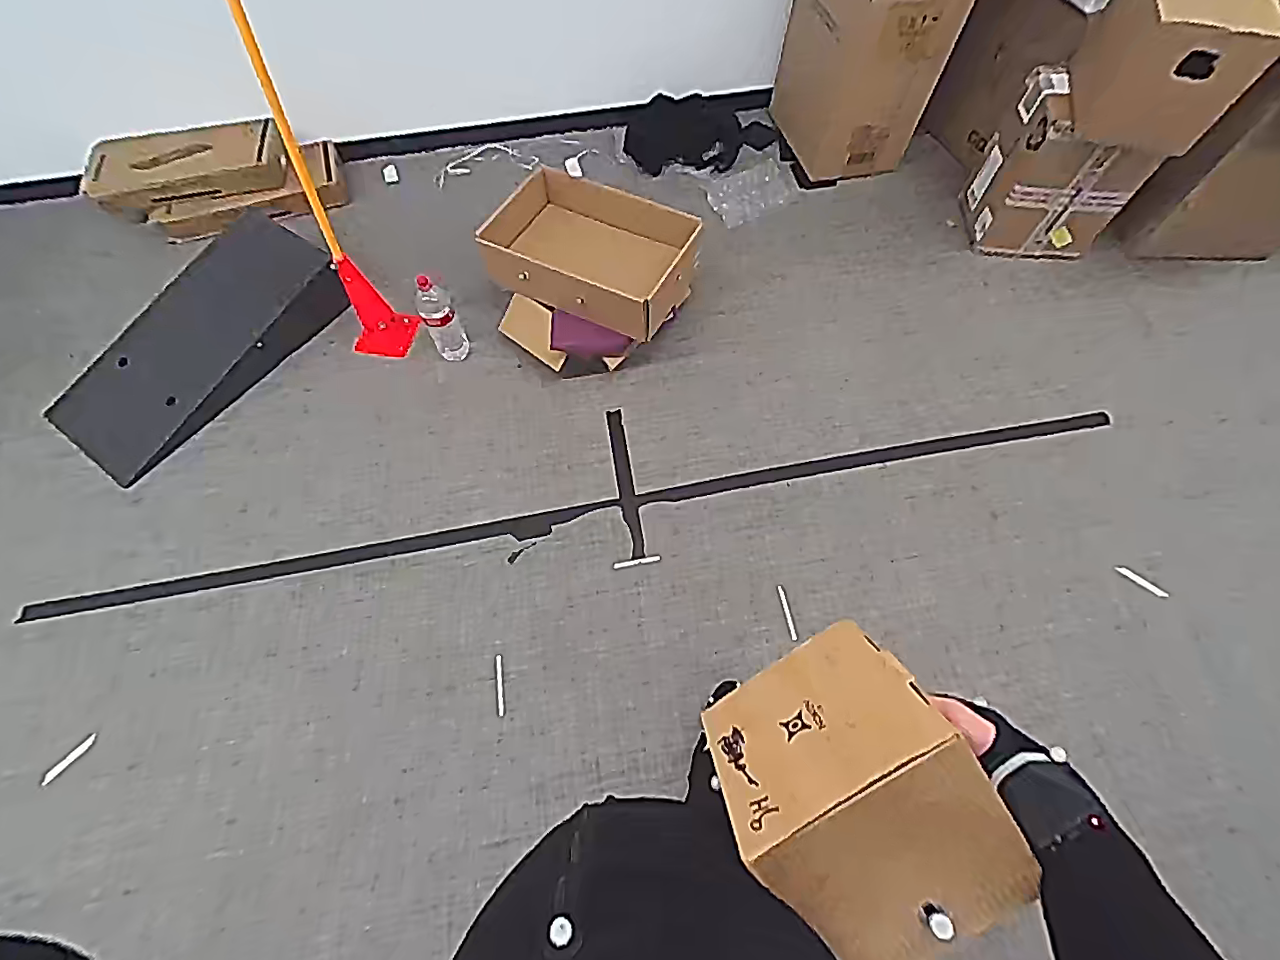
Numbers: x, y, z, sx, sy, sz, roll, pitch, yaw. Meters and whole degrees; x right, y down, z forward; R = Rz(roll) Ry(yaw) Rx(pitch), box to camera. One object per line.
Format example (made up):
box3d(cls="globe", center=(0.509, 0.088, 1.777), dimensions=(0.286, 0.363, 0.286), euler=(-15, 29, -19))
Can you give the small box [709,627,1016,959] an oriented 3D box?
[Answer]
box3d(cls="small box", center=(0.190, 0.275, 0.482), dimensions=(0.179, 0.168, 0.176), euler=(-34, 102, 3))
